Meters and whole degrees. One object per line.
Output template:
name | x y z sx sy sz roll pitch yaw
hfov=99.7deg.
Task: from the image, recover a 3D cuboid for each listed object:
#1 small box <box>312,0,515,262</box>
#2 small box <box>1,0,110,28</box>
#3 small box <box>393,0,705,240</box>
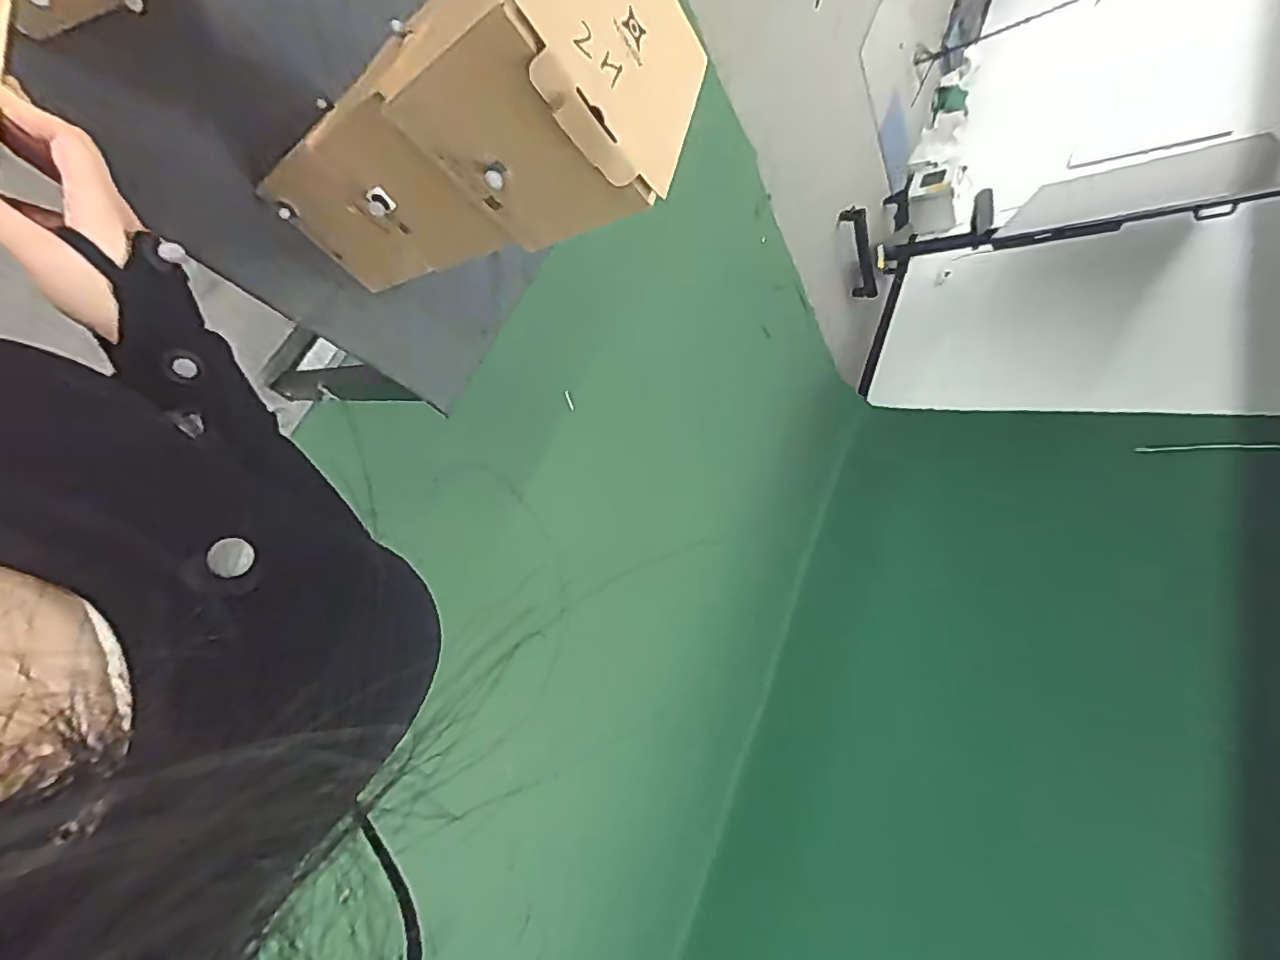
small box | -0.199 -0.360 0.560 0.168 0.176 0.179 39 65 -44
small box | -0.501 -0.521 0.434 0.168 0.176 0.179 53 55 -40
small box | -0.074 -0.340 0.454 0.168 0.176 0.179 34 68 -45
